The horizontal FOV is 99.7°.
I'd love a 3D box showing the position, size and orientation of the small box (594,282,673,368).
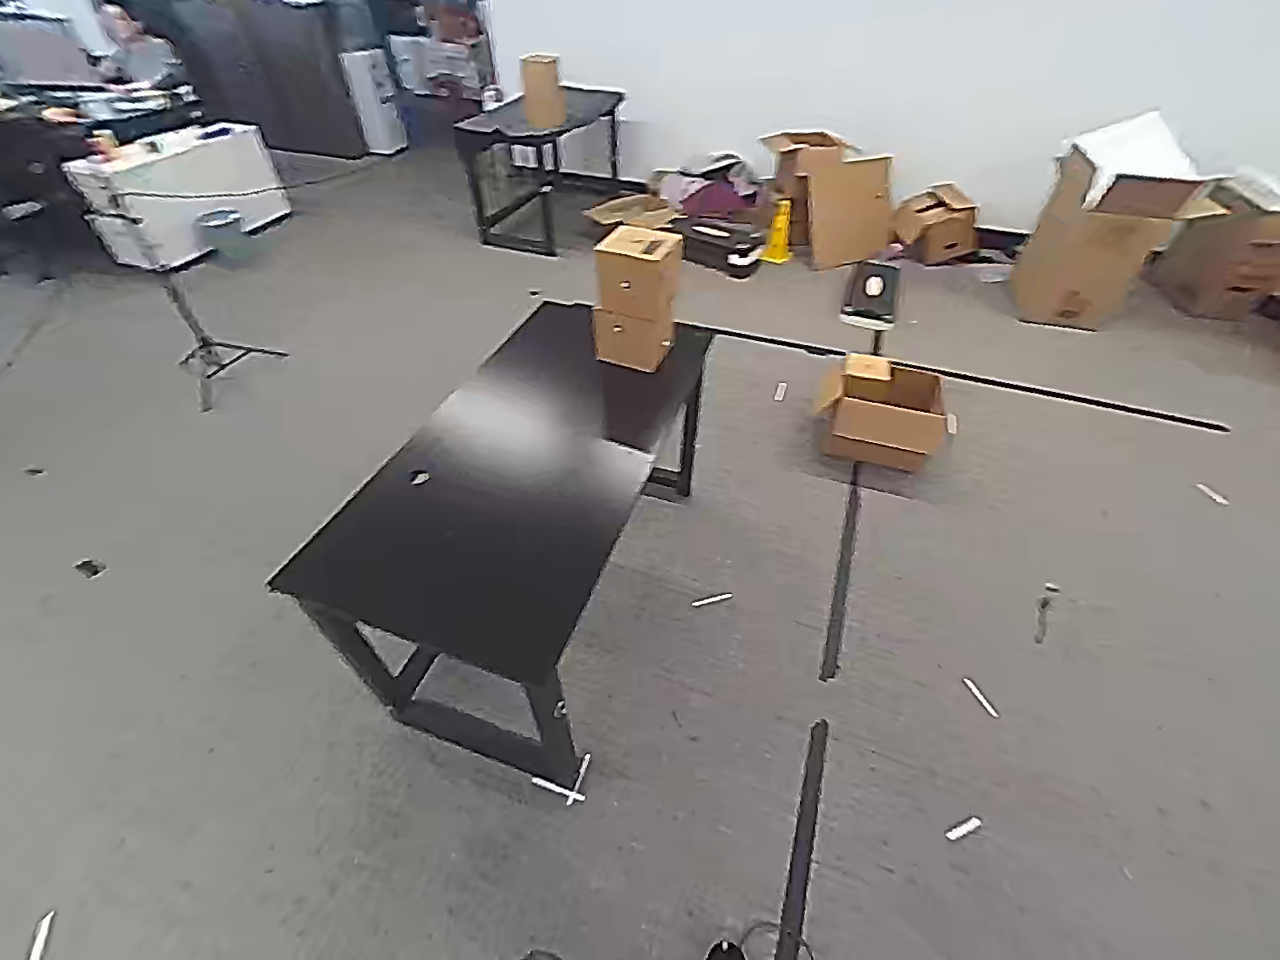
[{"bbox_3d":[-0.017,-0.444,1.557,0.179,0.176,0.168,18,50,16],"label":"small box"}]
